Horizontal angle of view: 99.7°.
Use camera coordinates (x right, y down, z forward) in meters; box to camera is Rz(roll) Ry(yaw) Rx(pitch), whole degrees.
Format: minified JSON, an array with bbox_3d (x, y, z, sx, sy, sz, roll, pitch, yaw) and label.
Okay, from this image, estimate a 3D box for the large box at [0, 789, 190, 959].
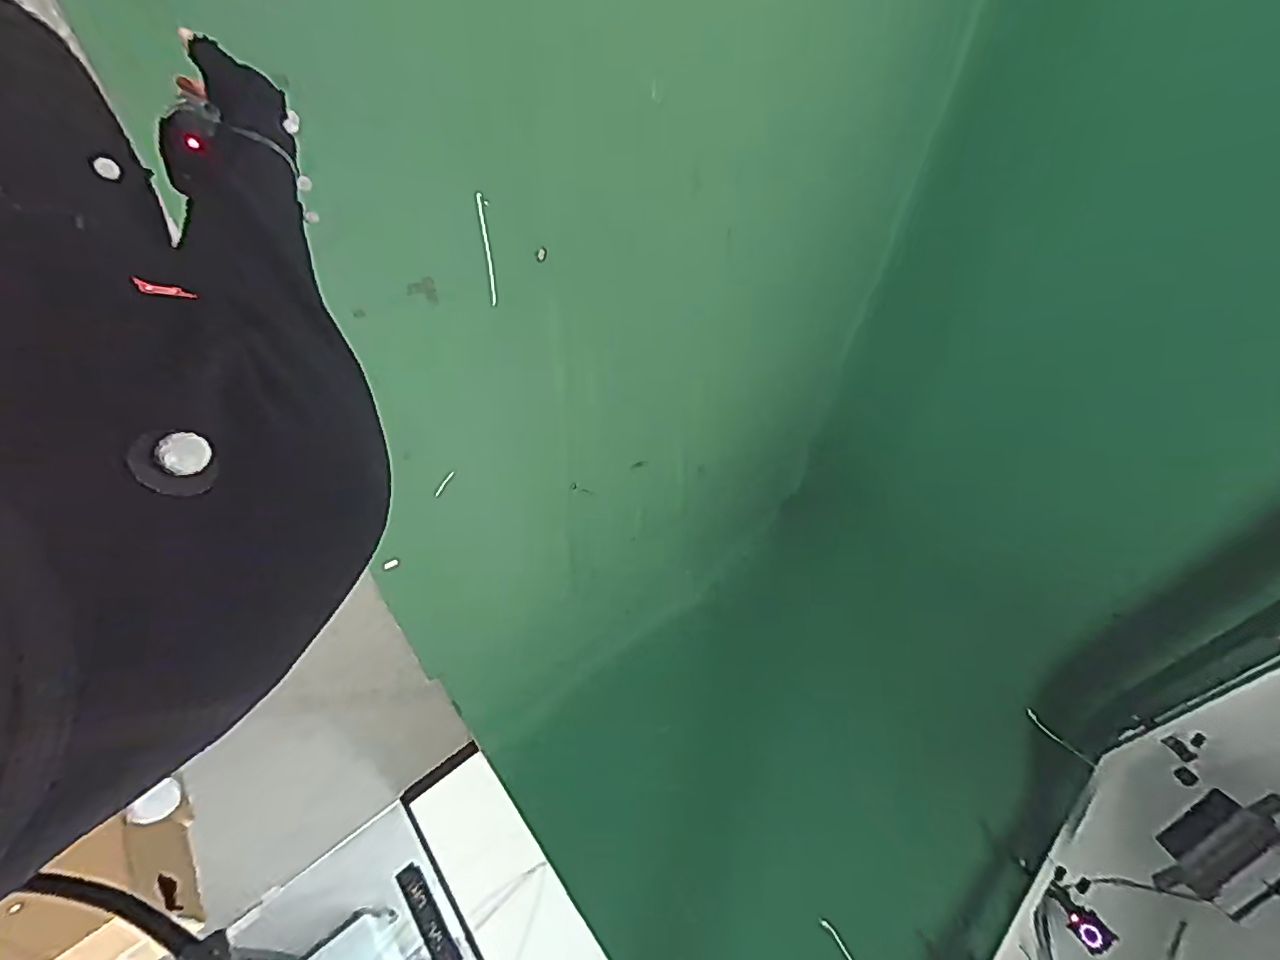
[{"bbox_3d":[-1.449,1.070,1.328,0.408,0.320,0.320,-31,144,-28],"label":"large box"}]
